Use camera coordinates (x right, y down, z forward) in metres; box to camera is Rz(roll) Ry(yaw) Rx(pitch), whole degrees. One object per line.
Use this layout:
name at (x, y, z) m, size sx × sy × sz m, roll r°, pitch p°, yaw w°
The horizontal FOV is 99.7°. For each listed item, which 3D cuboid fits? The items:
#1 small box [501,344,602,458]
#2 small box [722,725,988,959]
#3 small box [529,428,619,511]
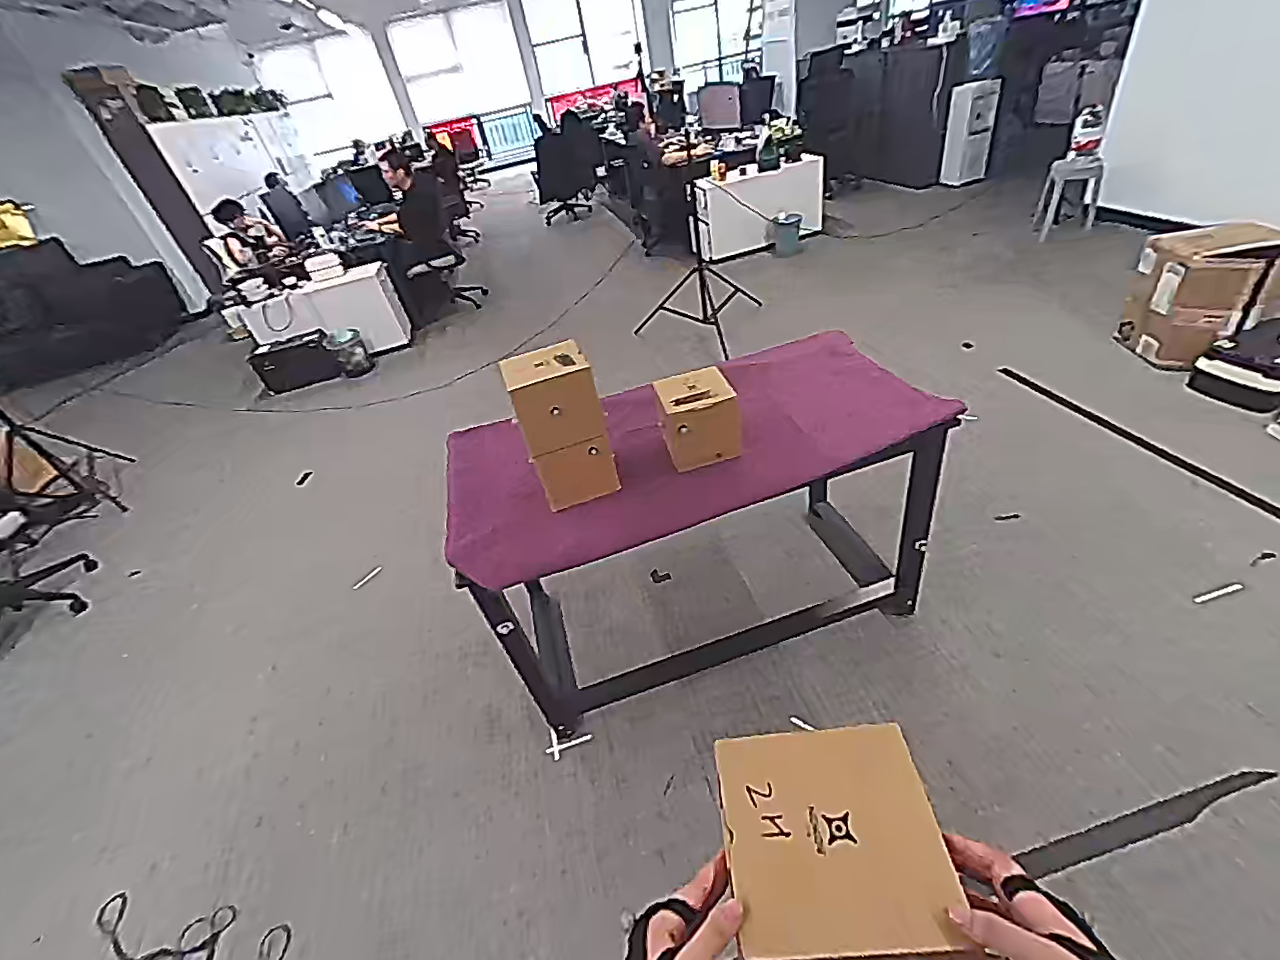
small box at (-0.192, -0.176, 1.200) m, size 0.179 × 0.176 × 0.168 m, roll -19°, pitch 37°, yaw -8°
small box at (0.177, 0.352, 0.502) m, size 0.179 × 0.176 × 0.168 m, roll -8°, pitch 38°, yaw 7°
small box at (-0.166, -0.050, 1.303) m, size 0.179 × 0.176 × 0.168 m, roll -19°, pitch 38°, yaw -8°
